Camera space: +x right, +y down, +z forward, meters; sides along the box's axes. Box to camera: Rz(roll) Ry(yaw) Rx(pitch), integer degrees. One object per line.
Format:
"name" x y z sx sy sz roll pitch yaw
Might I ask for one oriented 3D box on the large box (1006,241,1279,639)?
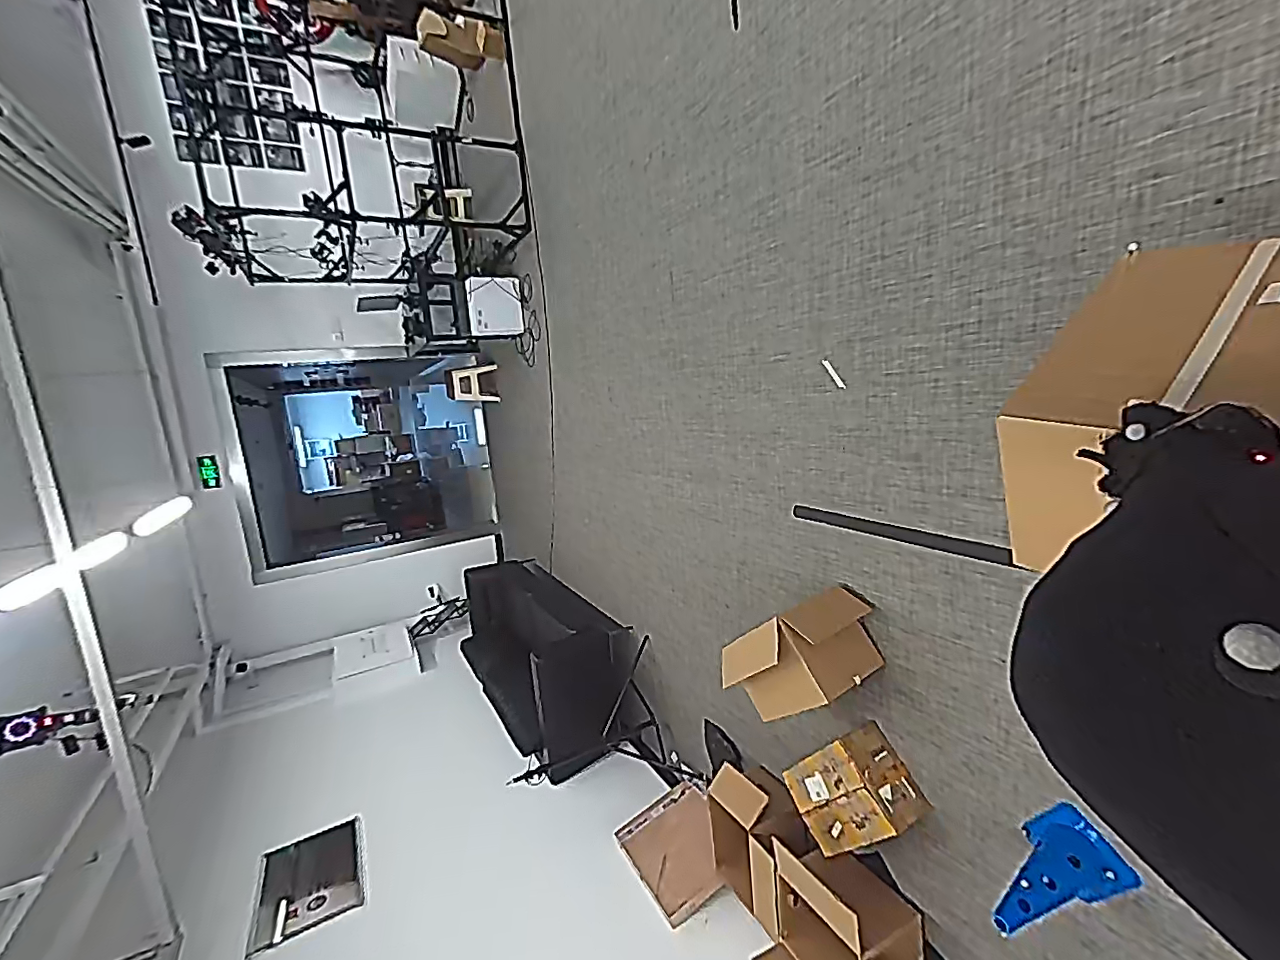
"large box" 0.757 -0.069 0.723 0.320 0.408 0.320 22 149 51
